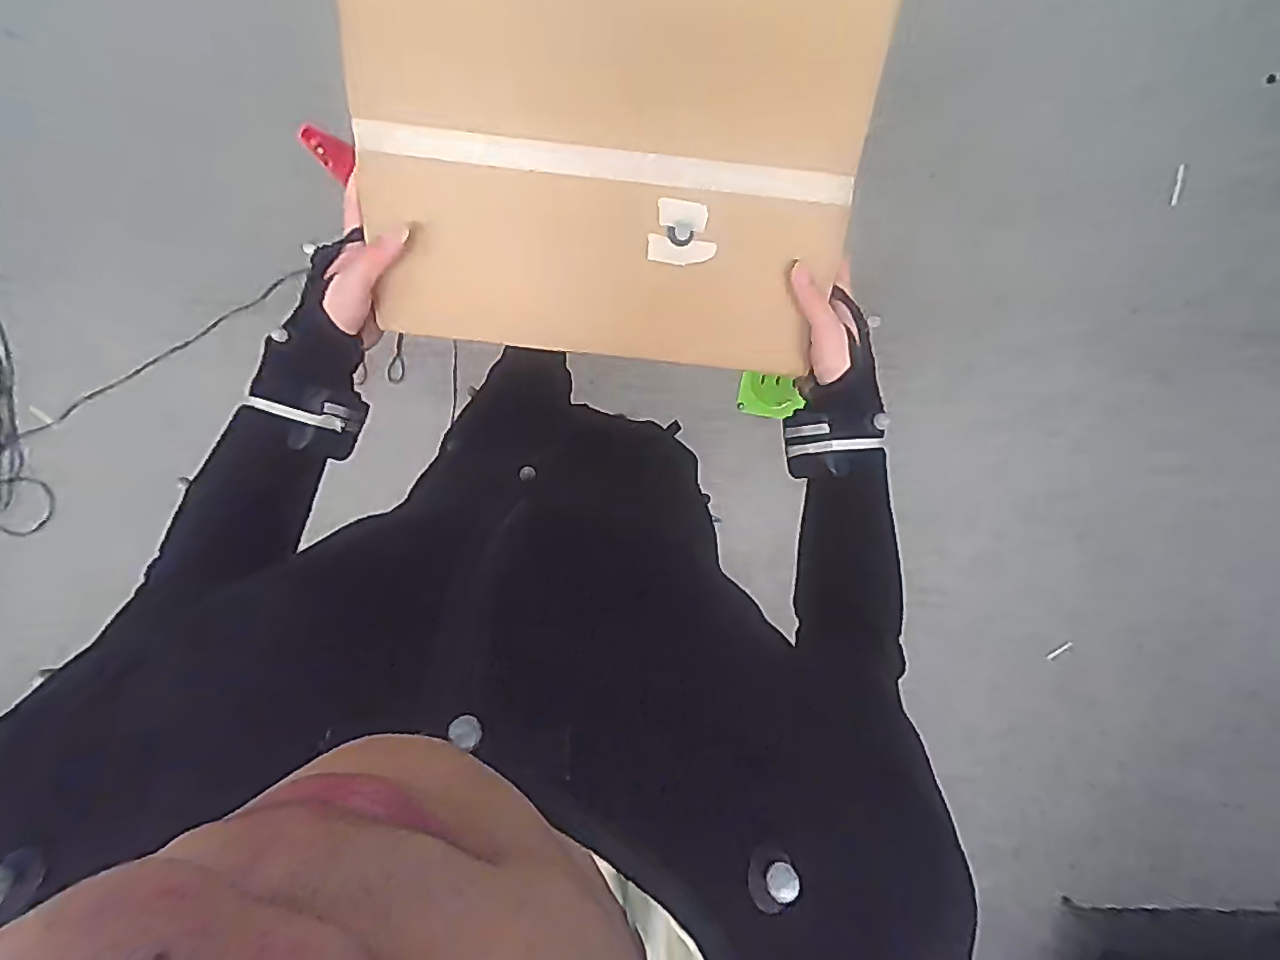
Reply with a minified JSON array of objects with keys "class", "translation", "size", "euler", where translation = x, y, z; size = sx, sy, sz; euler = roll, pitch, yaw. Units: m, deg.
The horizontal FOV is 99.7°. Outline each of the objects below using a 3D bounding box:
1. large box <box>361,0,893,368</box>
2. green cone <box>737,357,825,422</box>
[{"class":"large box","translation":[-0.021,-0.323,0.584],"size":[0.408,0.320,0.320],"euler":[5,117,-2]},{"class":"green cone","translation":[0.399,-0.247,1.403],"size":[0.200,0.368,0.202],"euler":[8,100,-4]}]
